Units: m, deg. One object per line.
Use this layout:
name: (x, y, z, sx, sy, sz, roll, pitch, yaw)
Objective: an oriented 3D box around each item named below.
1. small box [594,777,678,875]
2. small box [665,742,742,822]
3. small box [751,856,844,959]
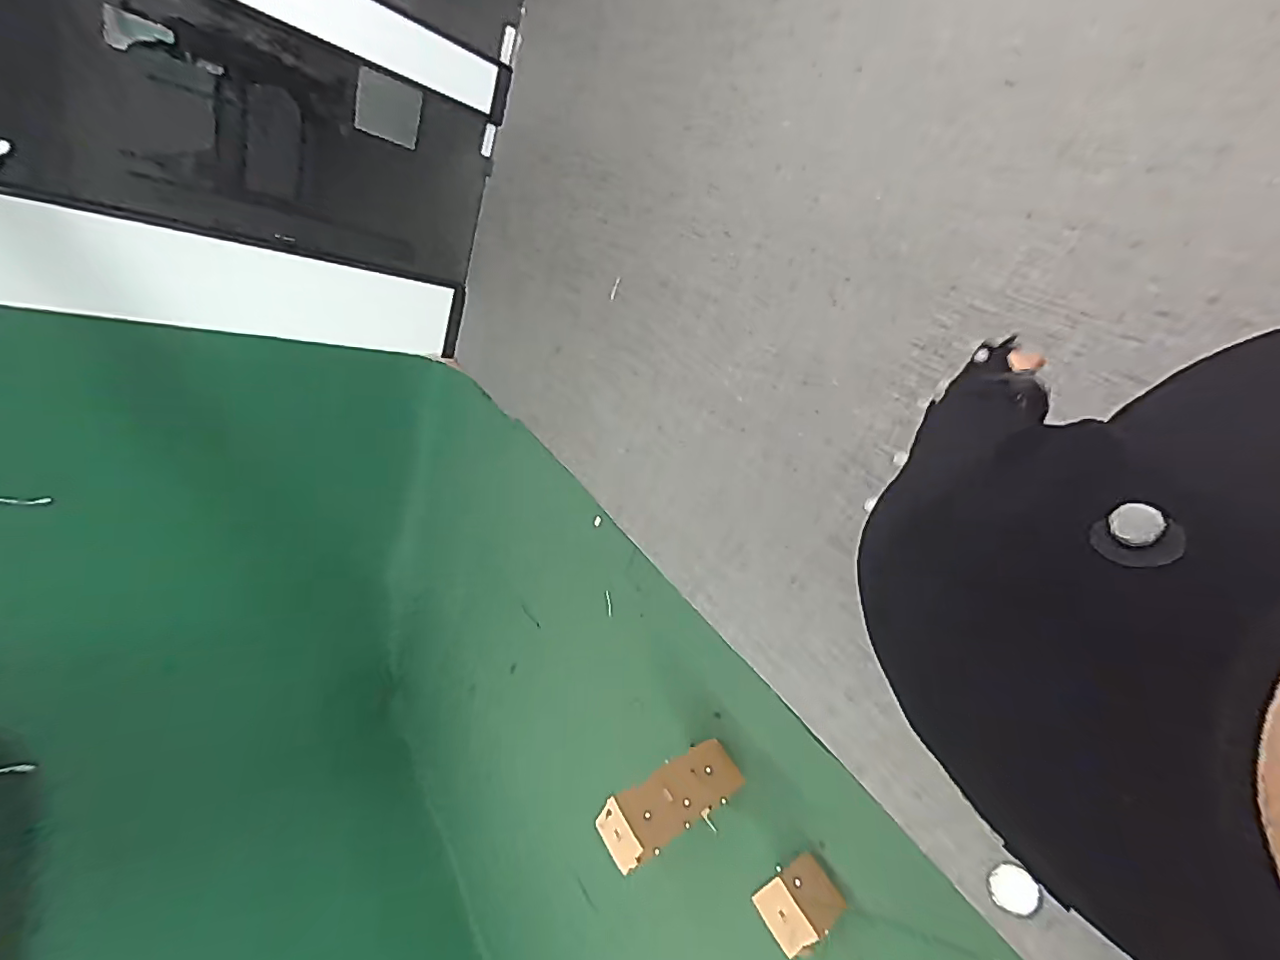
small box: (-0.010, 1.083, 1.706, 0.179, 0.176, 0.168, 46, 123, 36)
small box: (0.226, 1.068, 1.934, 0.179, 0.176, 0.168, 47, 124, 36)
small box: (0.483, 1.299, 1.658, 0.179, 0.176, 0.168, 49, 125, 34)
